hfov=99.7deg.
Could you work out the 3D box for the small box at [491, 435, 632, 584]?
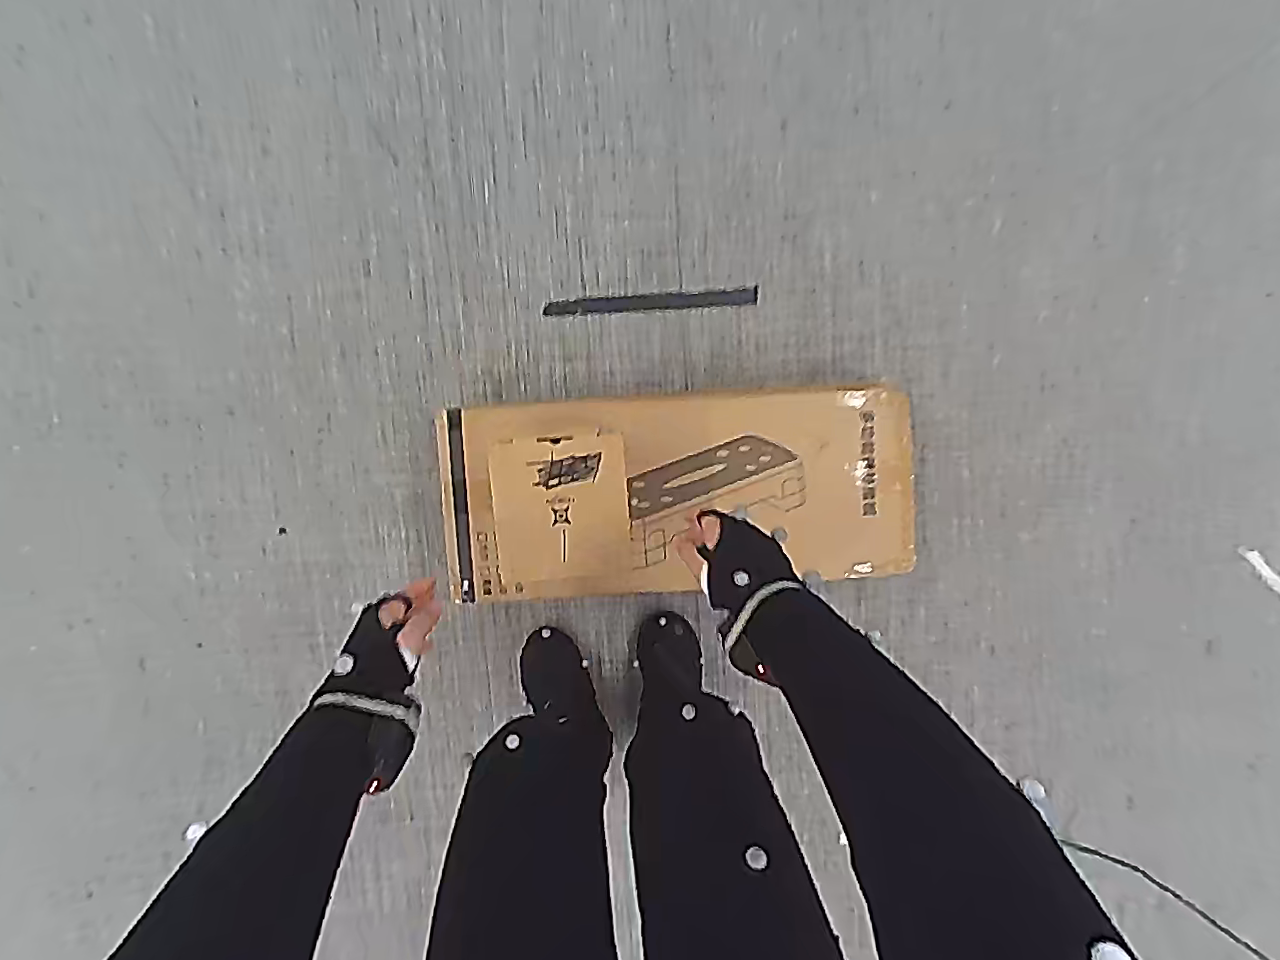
[{"bbox_3d":[-0.102,0.032,0.750,0.168,0.176,0.179,-5,95,-3],"label":"small box"}]
